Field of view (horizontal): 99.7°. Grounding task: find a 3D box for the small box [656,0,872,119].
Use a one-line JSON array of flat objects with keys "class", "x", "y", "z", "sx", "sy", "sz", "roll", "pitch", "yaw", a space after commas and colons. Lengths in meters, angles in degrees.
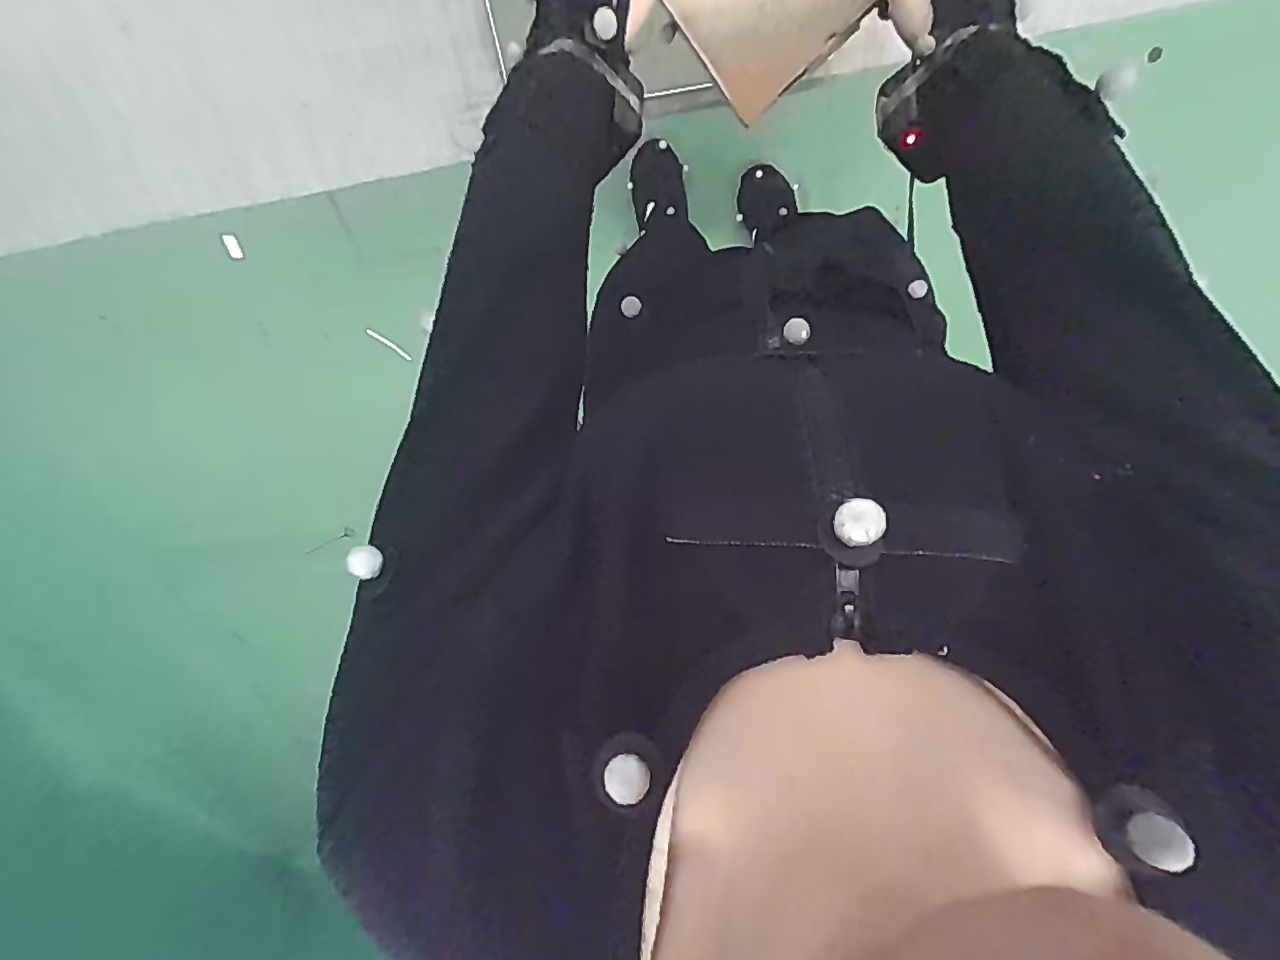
[{"class": "small box", "x": 0.091, "y": -0.448, "z": 0.443, "sx": 0.168, "sy": 0.176, "sz": 0.179, "roll": -34, "pitch": 123, "yaw": 26}]
